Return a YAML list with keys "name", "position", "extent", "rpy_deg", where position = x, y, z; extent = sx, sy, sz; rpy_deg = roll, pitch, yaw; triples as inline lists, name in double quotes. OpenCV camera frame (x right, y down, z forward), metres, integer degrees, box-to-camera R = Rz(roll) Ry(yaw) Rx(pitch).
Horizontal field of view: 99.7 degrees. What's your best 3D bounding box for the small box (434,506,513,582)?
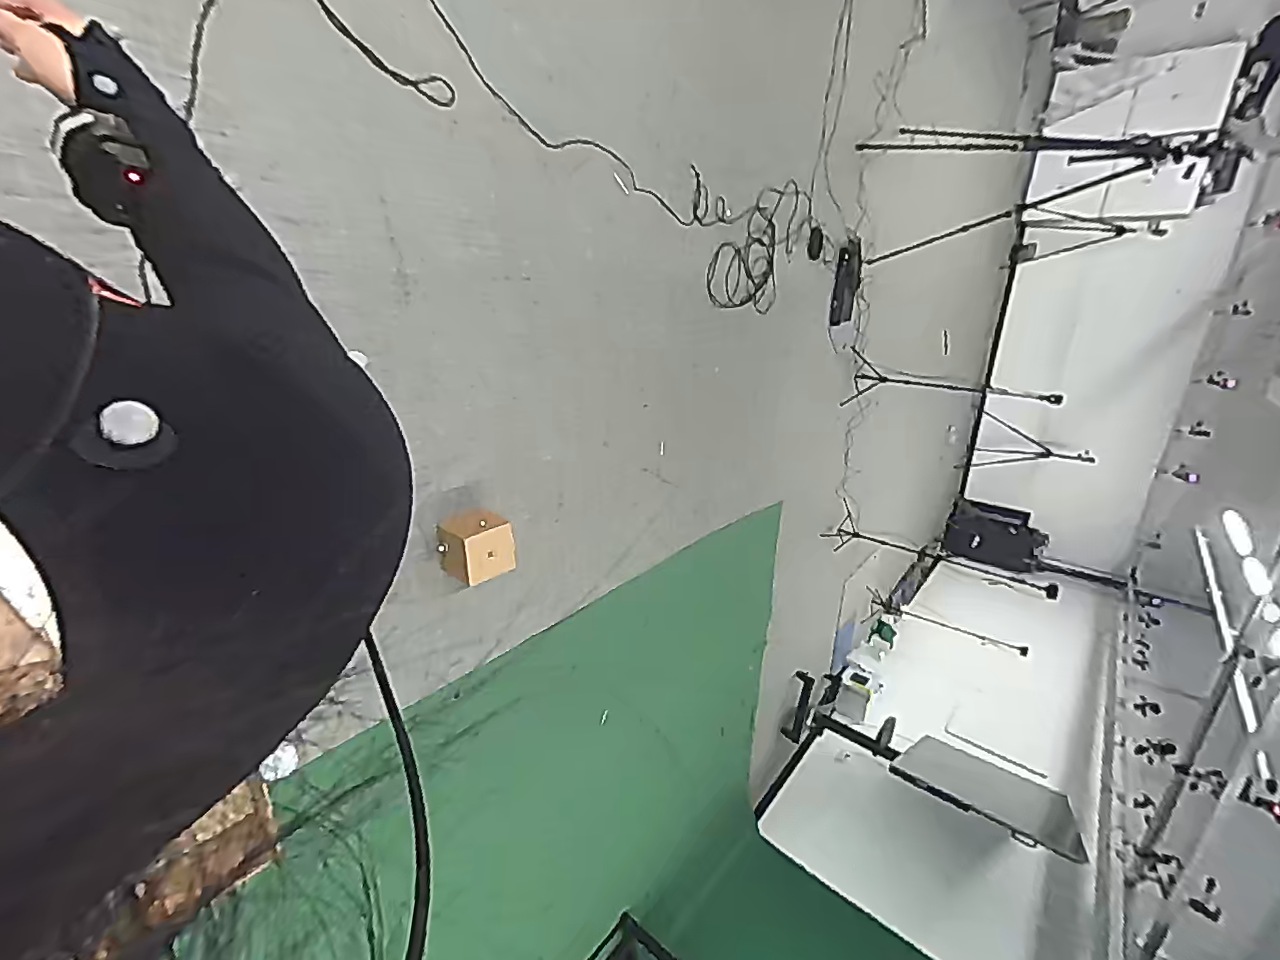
- name: "small box"
  position: [-0.533, 0.198, 1.736]
  extent: [0.179, 0.176, 0.168]
  rpy_deg: [-21, 119, -44]
